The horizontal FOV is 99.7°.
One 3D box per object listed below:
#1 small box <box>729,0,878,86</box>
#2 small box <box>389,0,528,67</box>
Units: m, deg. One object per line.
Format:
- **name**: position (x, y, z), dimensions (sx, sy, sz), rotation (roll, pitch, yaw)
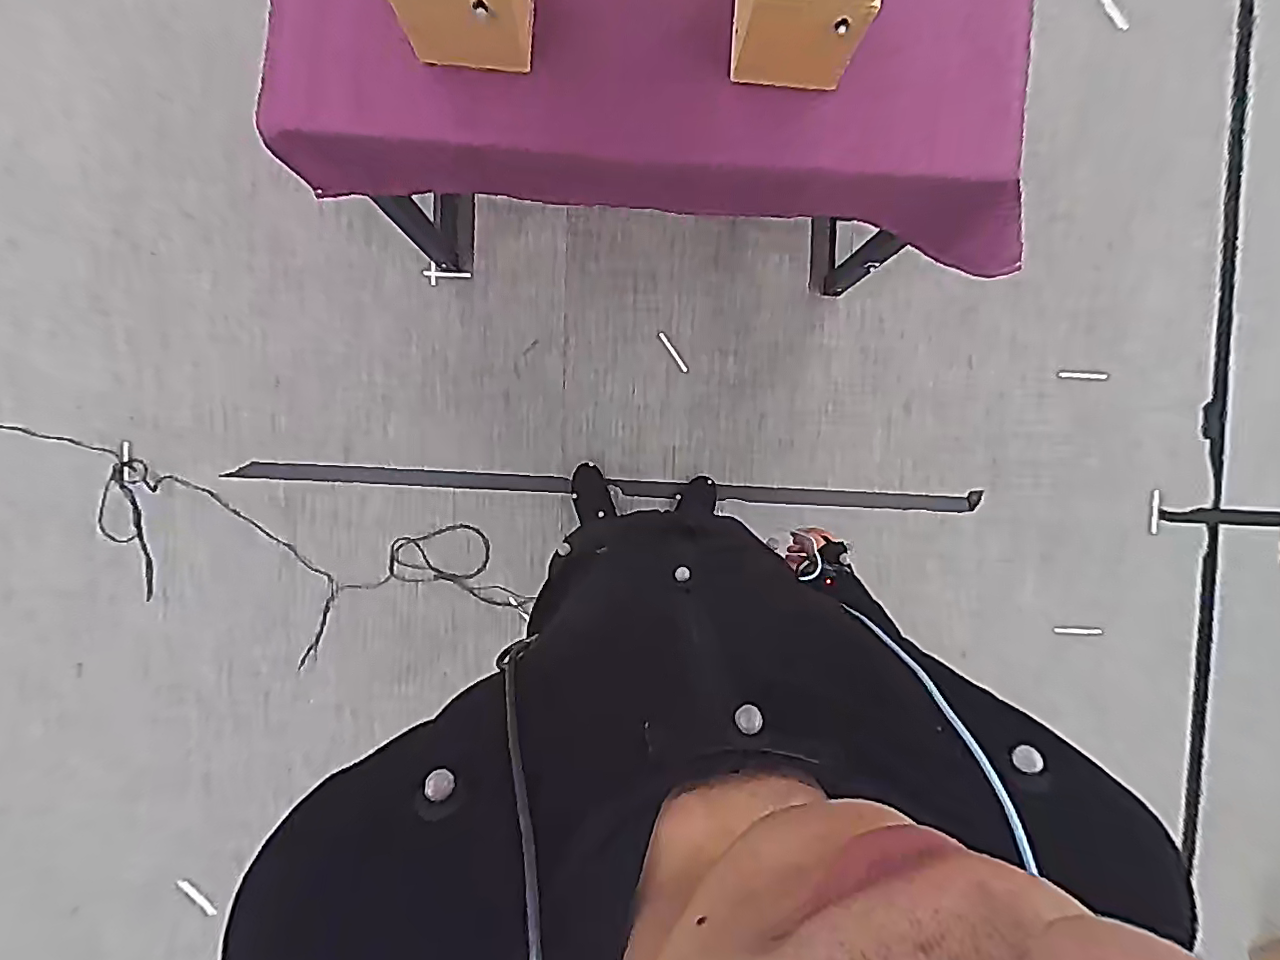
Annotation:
- **small box**: position (0.233, -0.719, 0.793), dimensions (0.179, 0.176, 0.168), rotation (3, 92, -3)
- **small box**: position (-0.255, -0.733, 0.770), dimensions (0.179, 0.176, 0.168), rotation (4, 92, -3)
